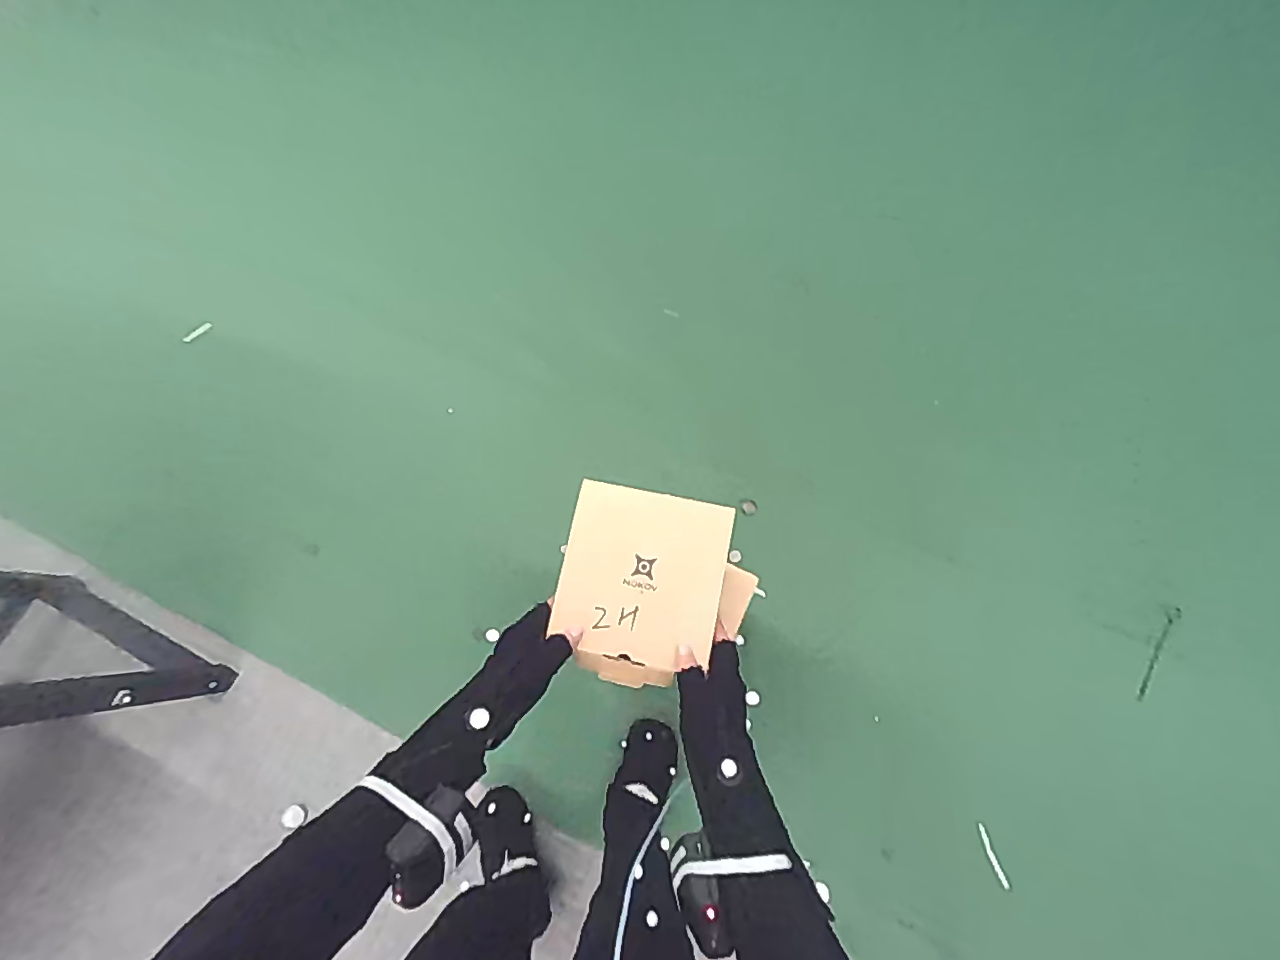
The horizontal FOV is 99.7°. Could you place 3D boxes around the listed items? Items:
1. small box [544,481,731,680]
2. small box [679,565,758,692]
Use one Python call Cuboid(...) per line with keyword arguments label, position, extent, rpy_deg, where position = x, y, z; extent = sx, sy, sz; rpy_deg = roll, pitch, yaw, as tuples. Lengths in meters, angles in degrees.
Cuboid(label="small box", position=(0.003, 0.115, 0.632), extent=(0.168, 0.176, 0.179), rpy_deg=(11, 79, 6))
Cuboid(label="small box", position=(0.073, 0.218, 0.881), extent=(0.168, 0.176, 0.179), rpy_deg=(24, 77, 10))
